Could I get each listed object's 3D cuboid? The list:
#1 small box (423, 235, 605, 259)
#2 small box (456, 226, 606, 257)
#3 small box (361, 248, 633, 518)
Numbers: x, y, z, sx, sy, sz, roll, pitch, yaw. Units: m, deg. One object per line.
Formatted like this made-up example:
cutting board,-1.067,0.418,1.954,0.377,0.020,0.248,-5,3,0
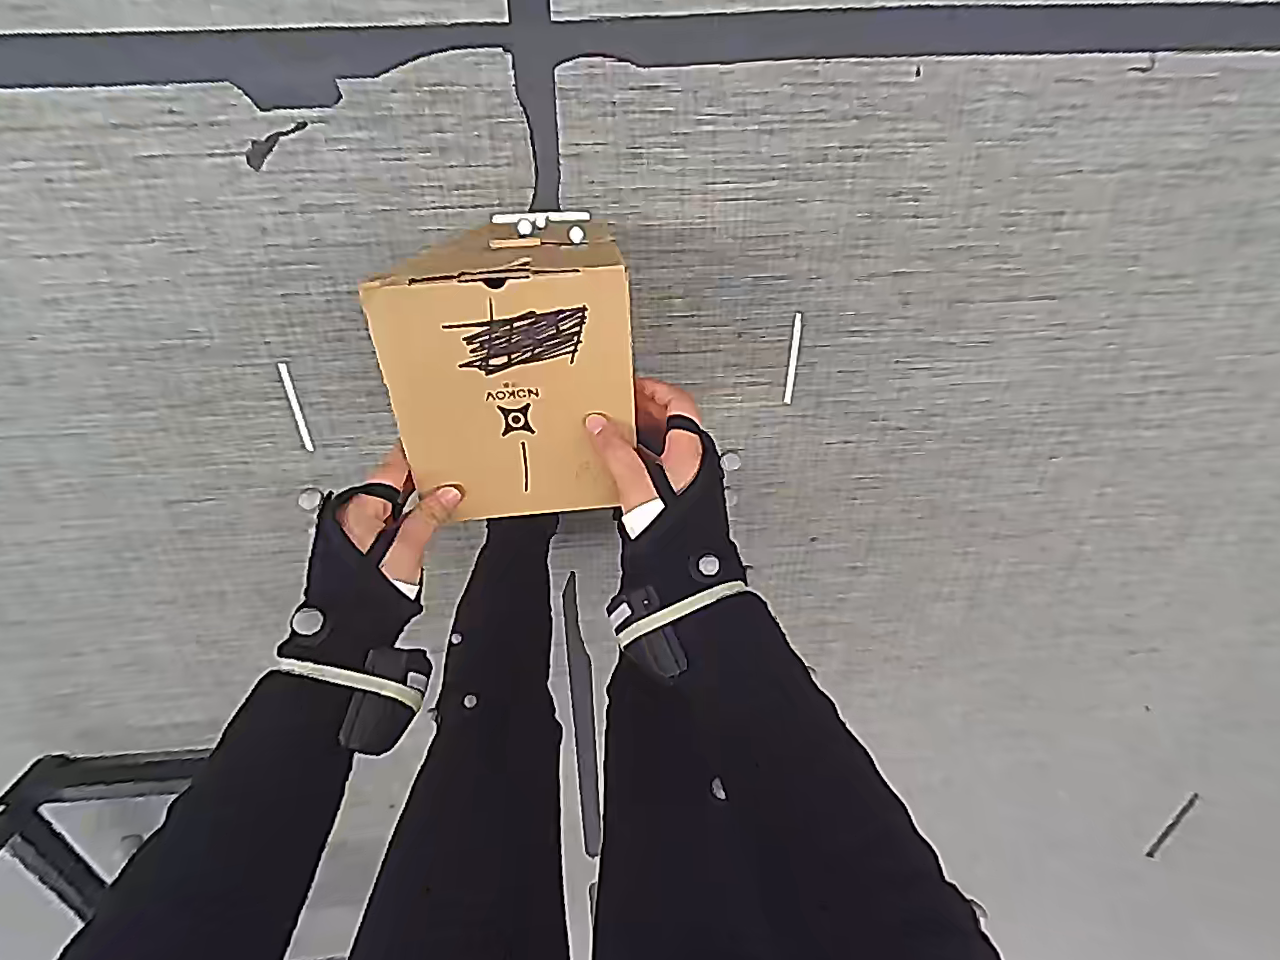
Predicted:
small box,-0.118,-0.170,0.594,0.168,0.176,0.179,-5,118,-3
small box,-0.133,-0.249,0.737,0.179,0.176,0.168,-3,118,-2
small box,-0.098,-0.092,0.449,0.168,0.176,0.179,-5,119,-3
